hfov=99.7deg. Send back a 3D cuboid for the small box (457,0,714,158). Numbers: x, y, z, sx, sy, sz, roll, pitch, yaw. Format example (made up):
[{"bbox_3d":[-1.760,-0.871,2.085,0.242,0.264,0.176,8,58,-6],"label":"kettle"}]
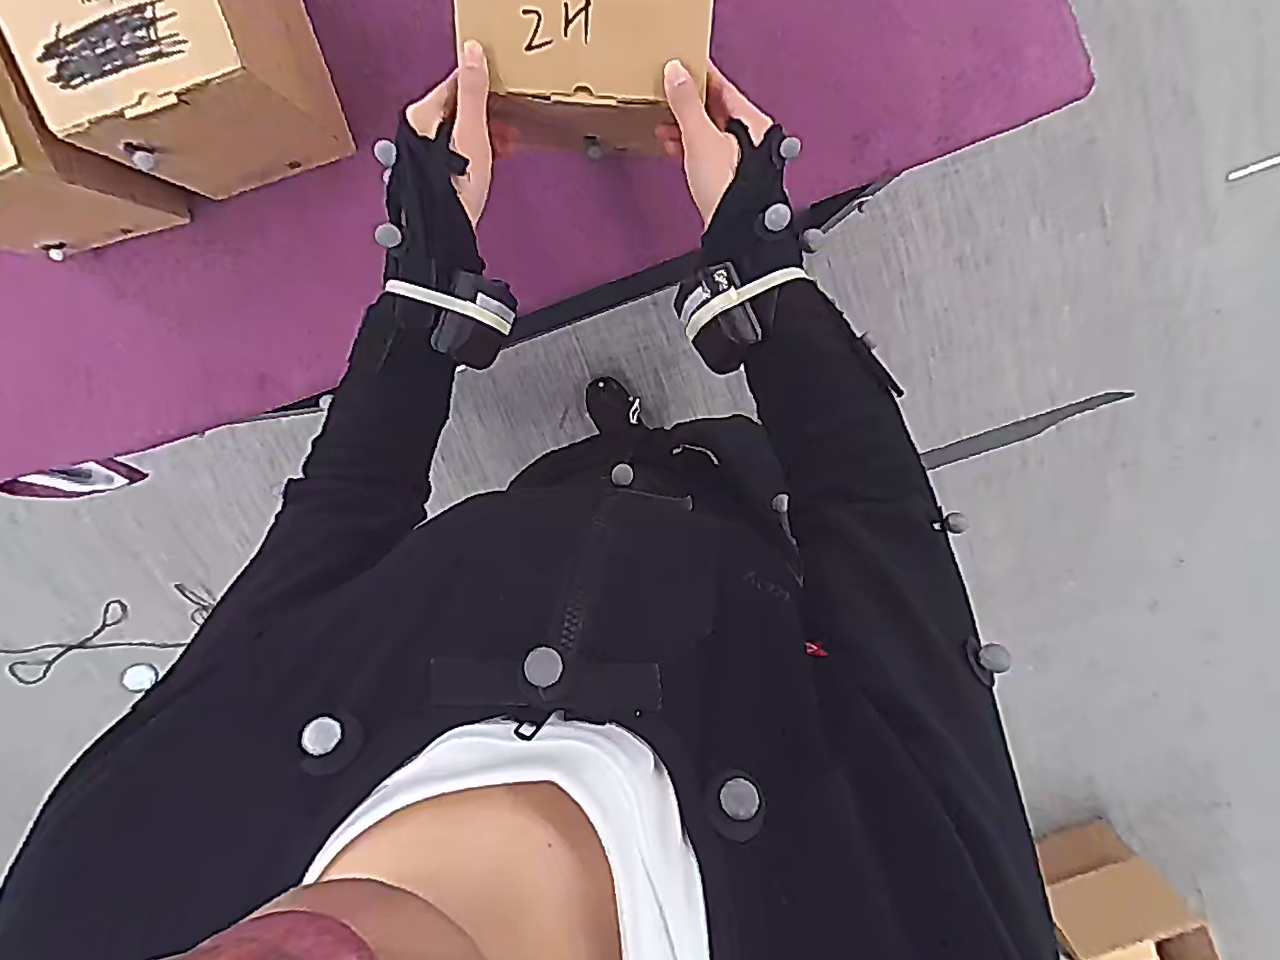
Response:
[{"bbox_3d":[-0.034,-0.364,0.407,0.168,0.176,0.179,3,111,-2],"label":"small box"}]
